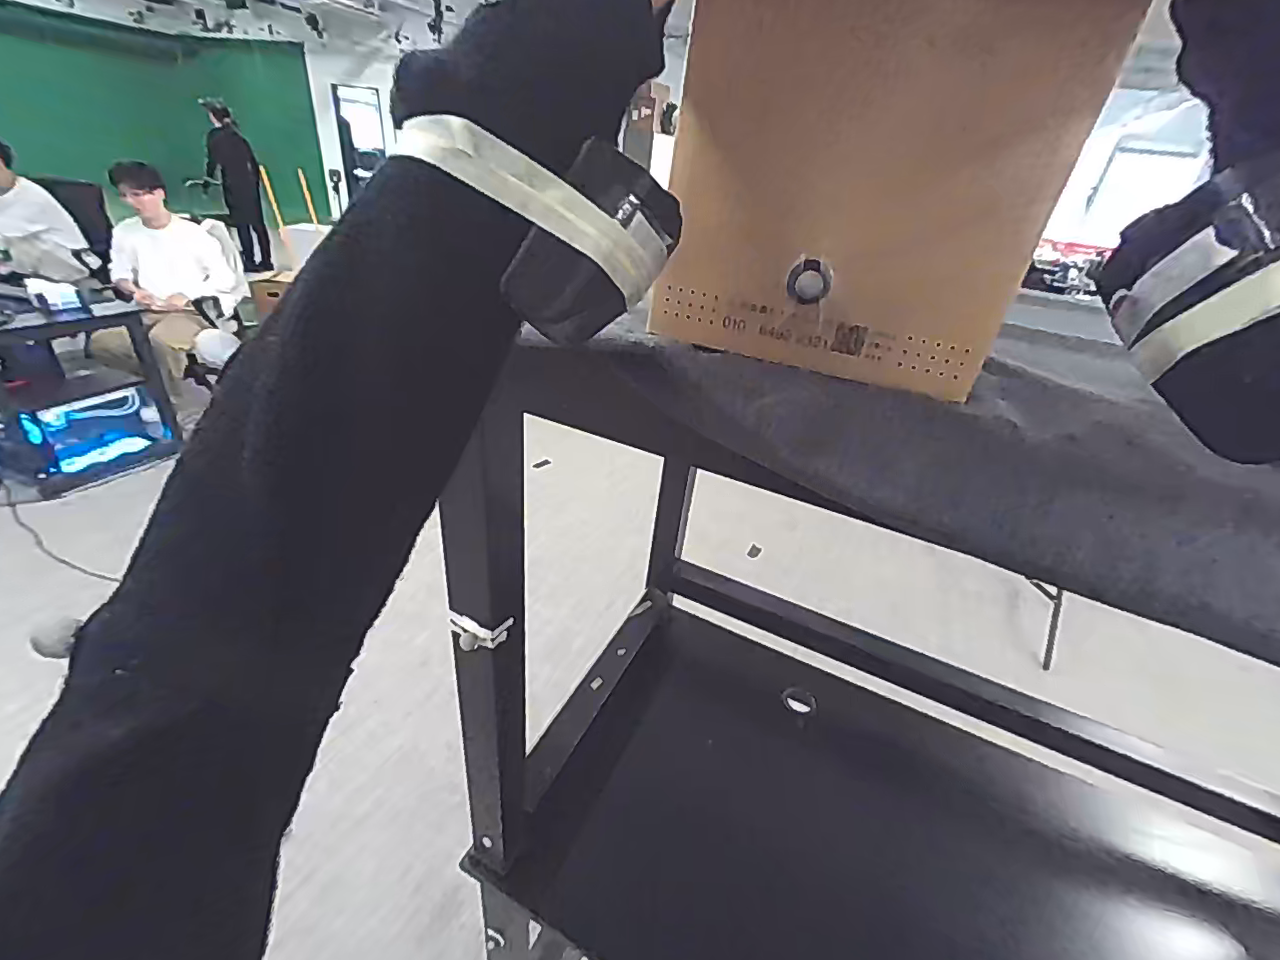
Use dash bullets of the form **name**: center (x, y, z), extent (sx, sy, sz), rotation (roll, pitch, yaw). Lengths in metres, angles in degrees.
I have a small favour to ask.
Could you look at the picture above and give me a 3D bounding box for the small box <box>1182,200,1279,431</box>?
- **small box**: center (0.401, -0.090, 0.234), extent (0.168, 0.176, 0.179), rotation (19, 30, 21)
